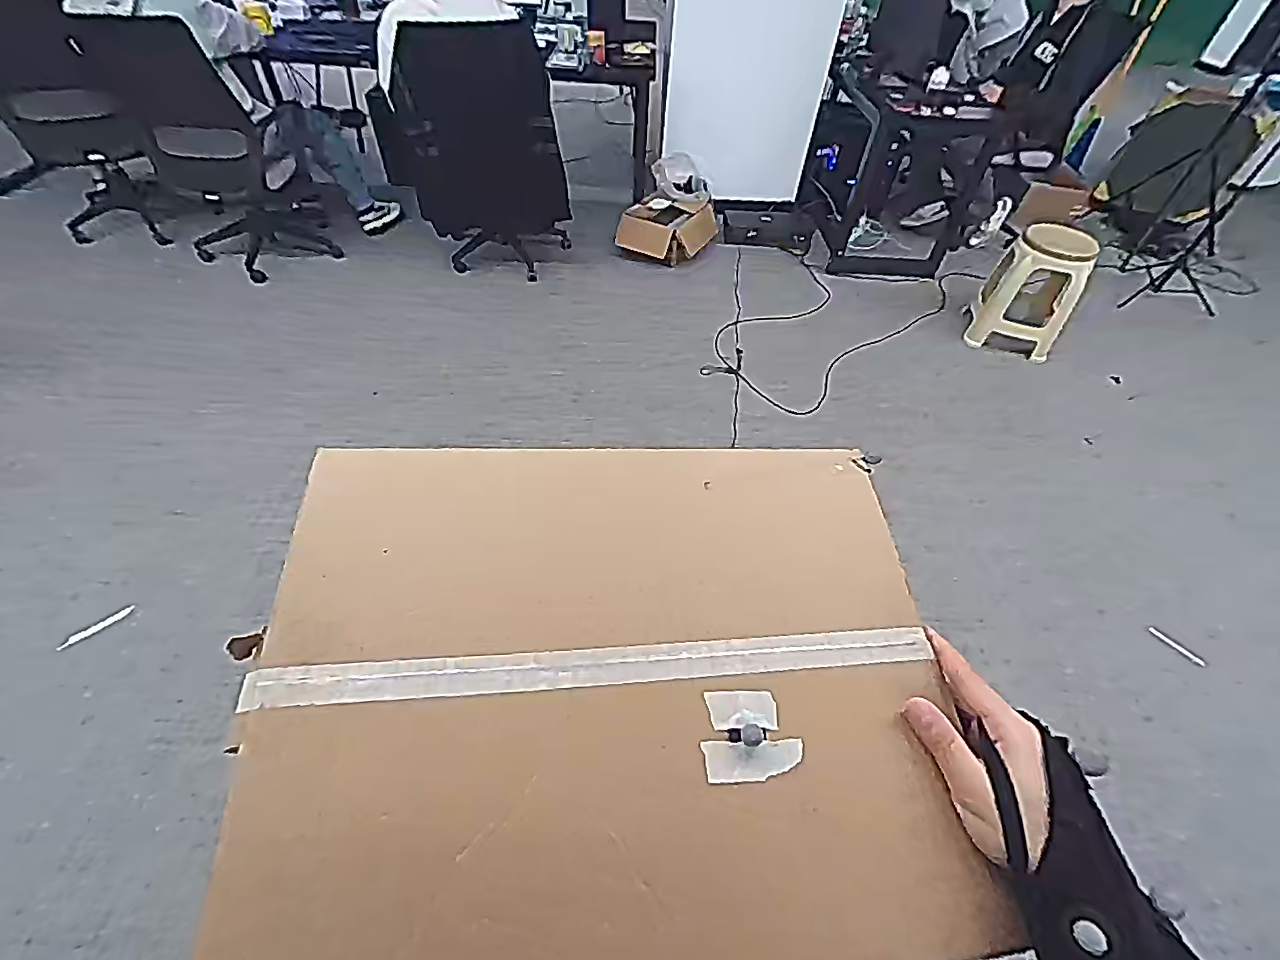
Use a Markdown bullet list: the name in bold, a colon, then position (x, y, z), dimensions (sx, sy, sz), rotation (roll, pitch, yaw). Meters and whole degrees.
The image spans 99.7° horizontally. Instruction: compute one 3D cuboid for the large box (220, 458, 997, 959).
- **large box**: position (-0.032, 0.192, 0.465), dimensions (0.408, 0.320, 0.320), rotation (0, 60, -10)
